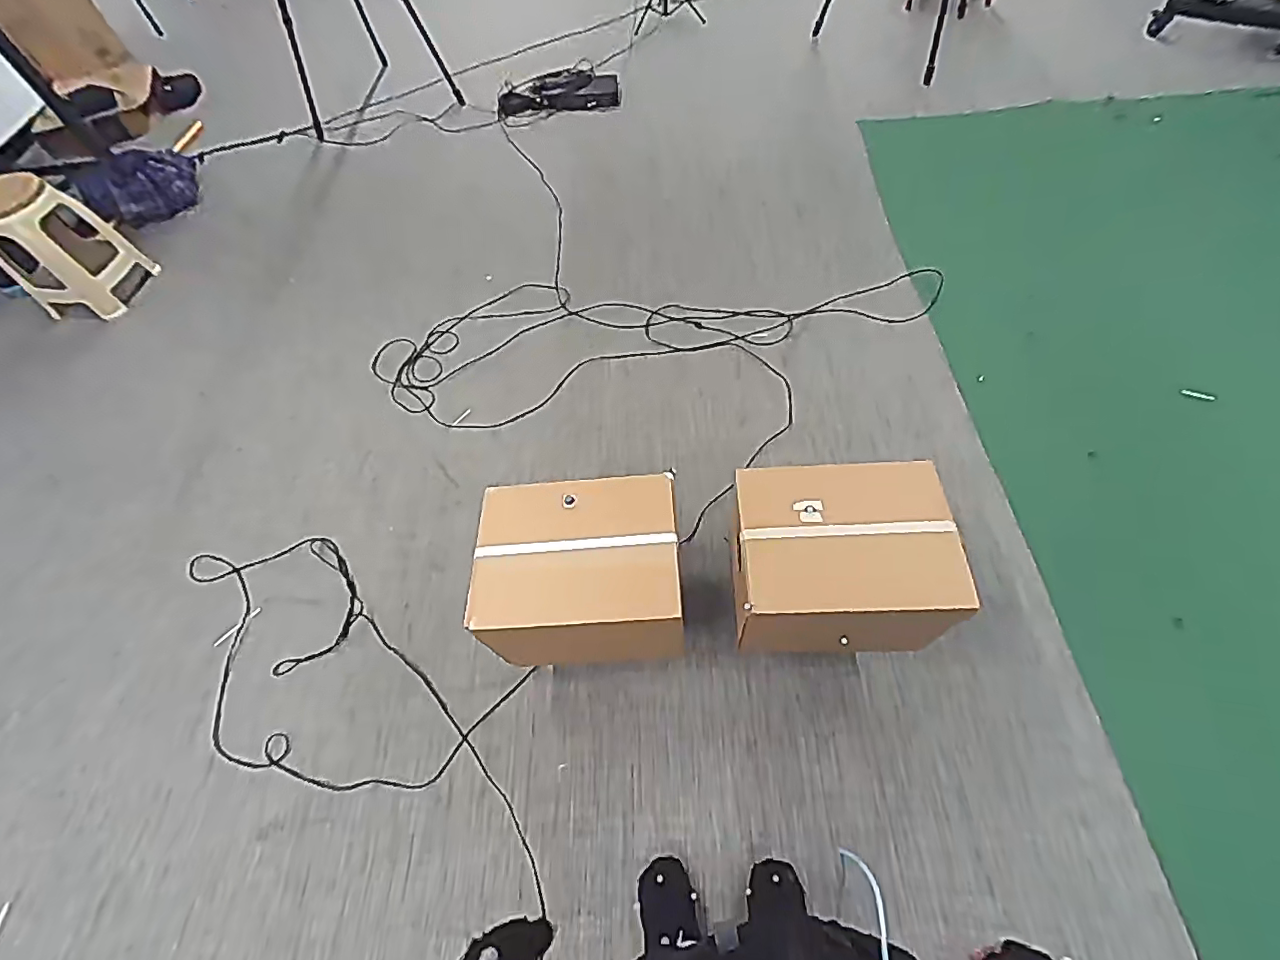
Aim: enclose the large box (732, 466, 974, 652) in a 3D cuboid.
[{"bbox_3d":[0.422,0.188,1.188,0.408,0.320,0.320,-3,59,5],"label":"large box"}]
